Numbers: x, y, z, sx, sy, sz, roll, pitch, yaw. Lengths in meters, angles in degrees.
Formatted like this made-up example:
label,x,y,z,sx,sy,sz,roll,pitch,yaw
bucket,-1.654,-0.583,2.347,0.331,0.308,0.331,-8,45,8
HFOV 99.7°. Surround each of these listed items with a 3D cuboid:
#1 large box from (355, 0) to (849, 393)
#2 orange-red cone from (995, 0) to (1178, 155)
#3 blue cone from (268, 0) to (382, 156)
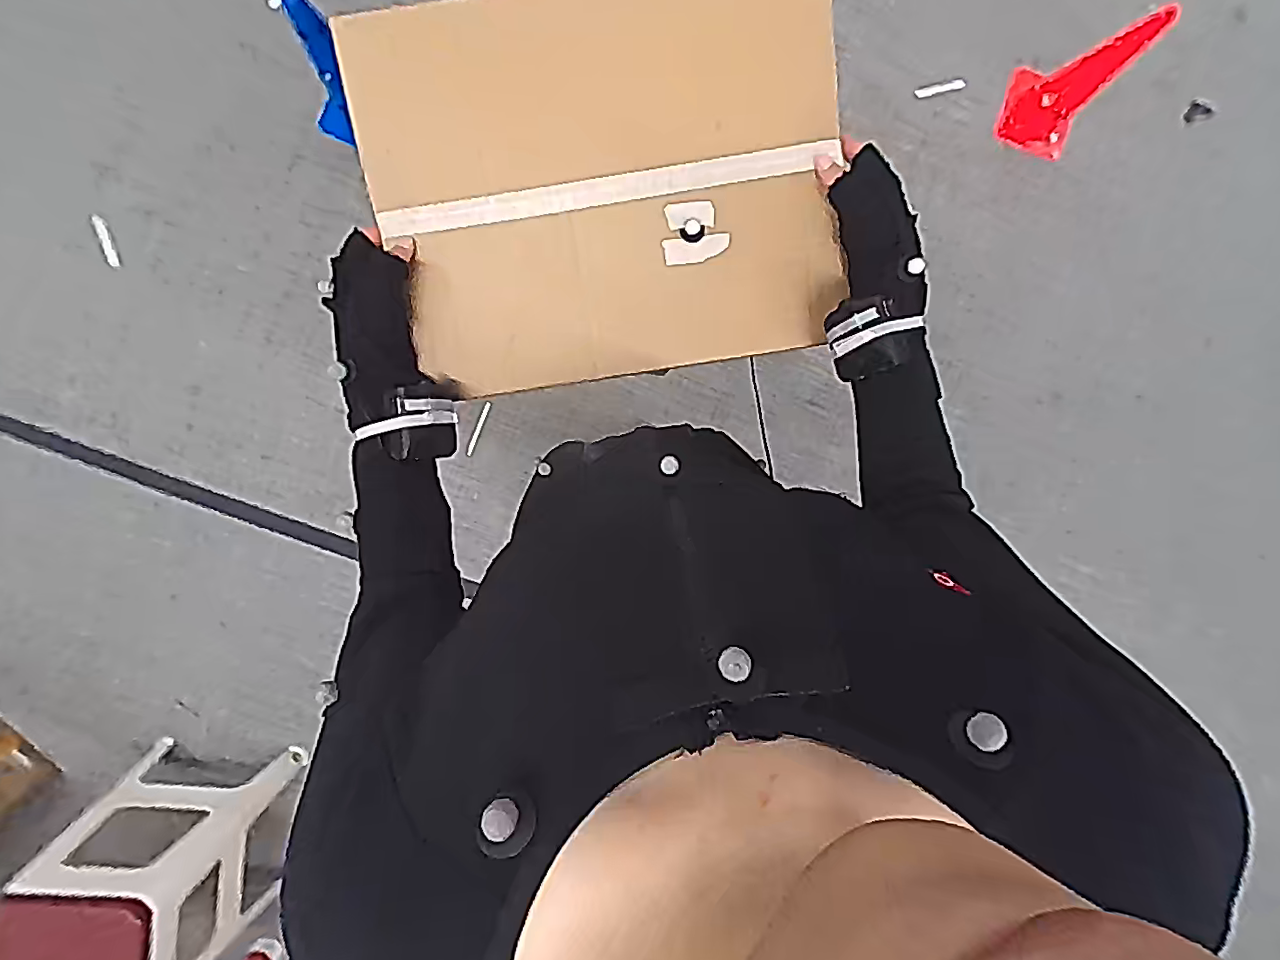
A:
label,x,y,z,sx,sy,sz,roll,pitch,yaw
large box,-0.026,-0.288,0.620,0.408,0.320,0.320,-8,103,-1
orange-red cone,1.094,-1.003,1.306,0.198,0.360,0.199,19,91,-6
blue cone,-0.691,-0.925,1.204,0.192,0.380,0.193,24,92,-4
